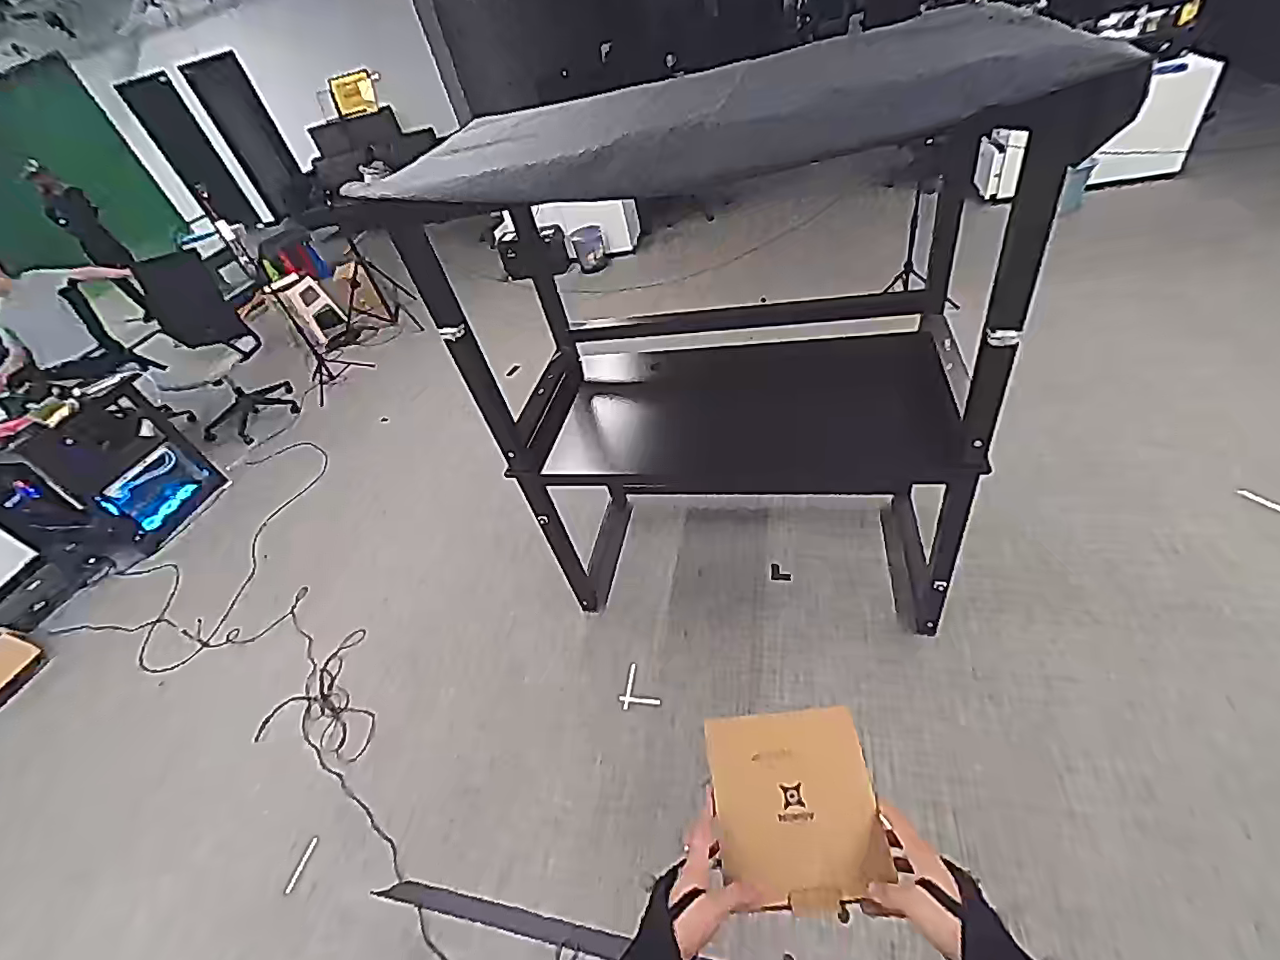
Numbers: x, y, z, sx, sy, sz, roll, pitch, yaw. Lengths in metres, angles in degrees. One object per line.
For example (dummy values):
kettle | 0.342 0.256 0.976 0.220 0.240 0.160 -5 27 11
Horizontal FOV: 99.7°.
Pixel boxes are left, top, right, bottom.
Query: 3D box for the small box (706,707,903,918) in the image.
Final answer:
small box | 0.171 0.379 0.619 0.168 0.176 0.179 -7 53 2
